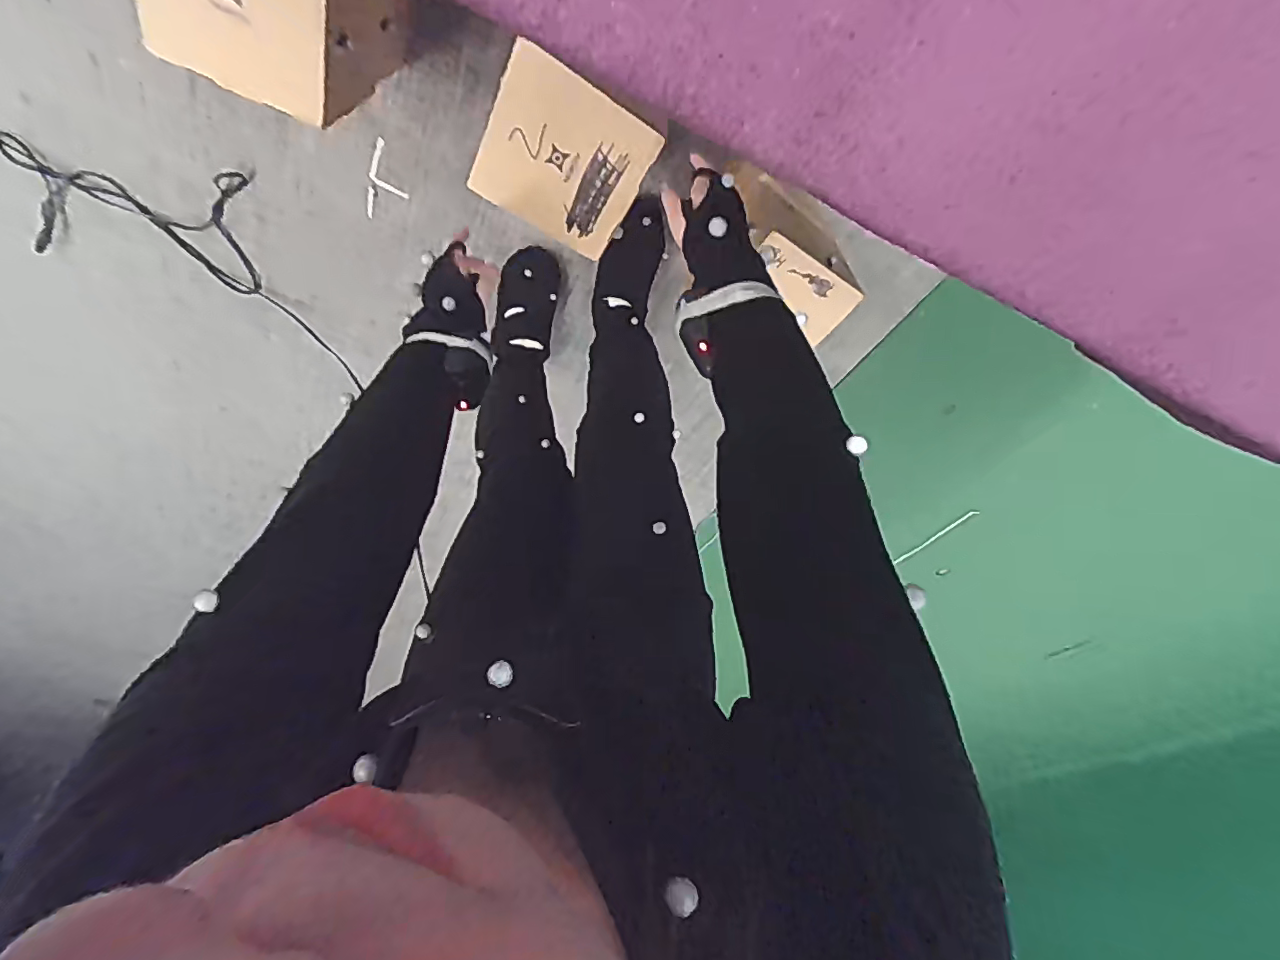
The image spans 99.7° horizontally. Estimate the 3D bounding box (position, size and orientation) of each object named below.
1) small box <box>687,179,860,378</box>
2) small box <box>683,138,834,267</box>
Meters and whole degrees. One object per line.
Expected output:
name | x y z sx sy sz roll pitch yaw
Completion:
small box | 0.183 -0.291 0.790 0.168 0.176 0.179 23 135 -25
small box | 0.187 -0.418 0.897 0.168 0.176 0.179 27 131 -26
